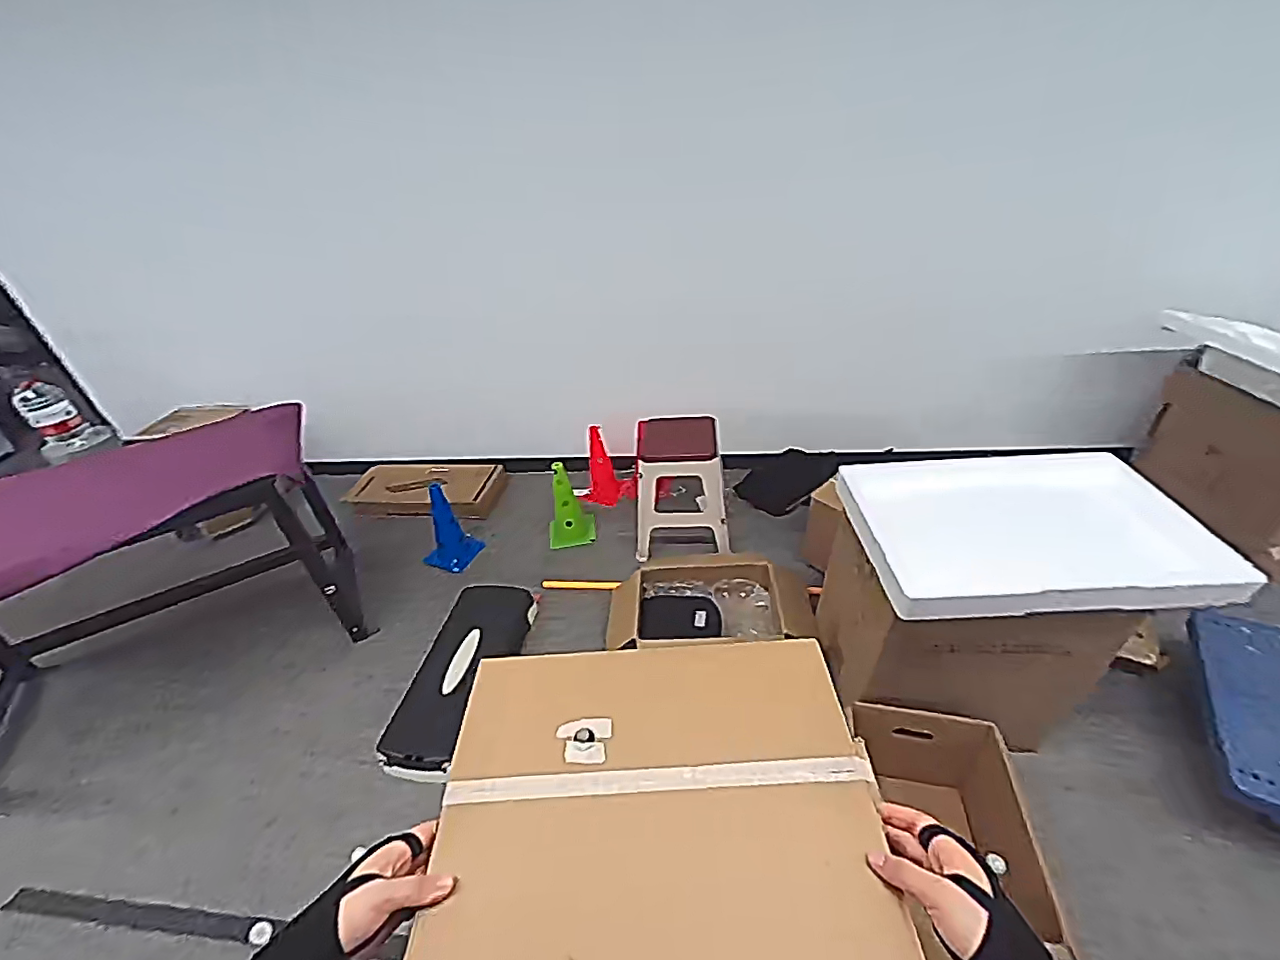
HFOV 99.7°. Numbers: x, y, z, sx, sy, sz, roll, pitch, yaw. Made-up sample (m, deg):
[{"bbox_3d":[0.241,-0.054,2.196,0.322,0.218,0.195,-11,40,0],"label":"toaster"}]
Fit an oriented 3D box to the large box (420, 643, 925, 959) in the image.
[{"bbox_3d":[0.033,0.422,0.613,0.408,0.320,0.320,-6,34,3],"label":"large box"}]
